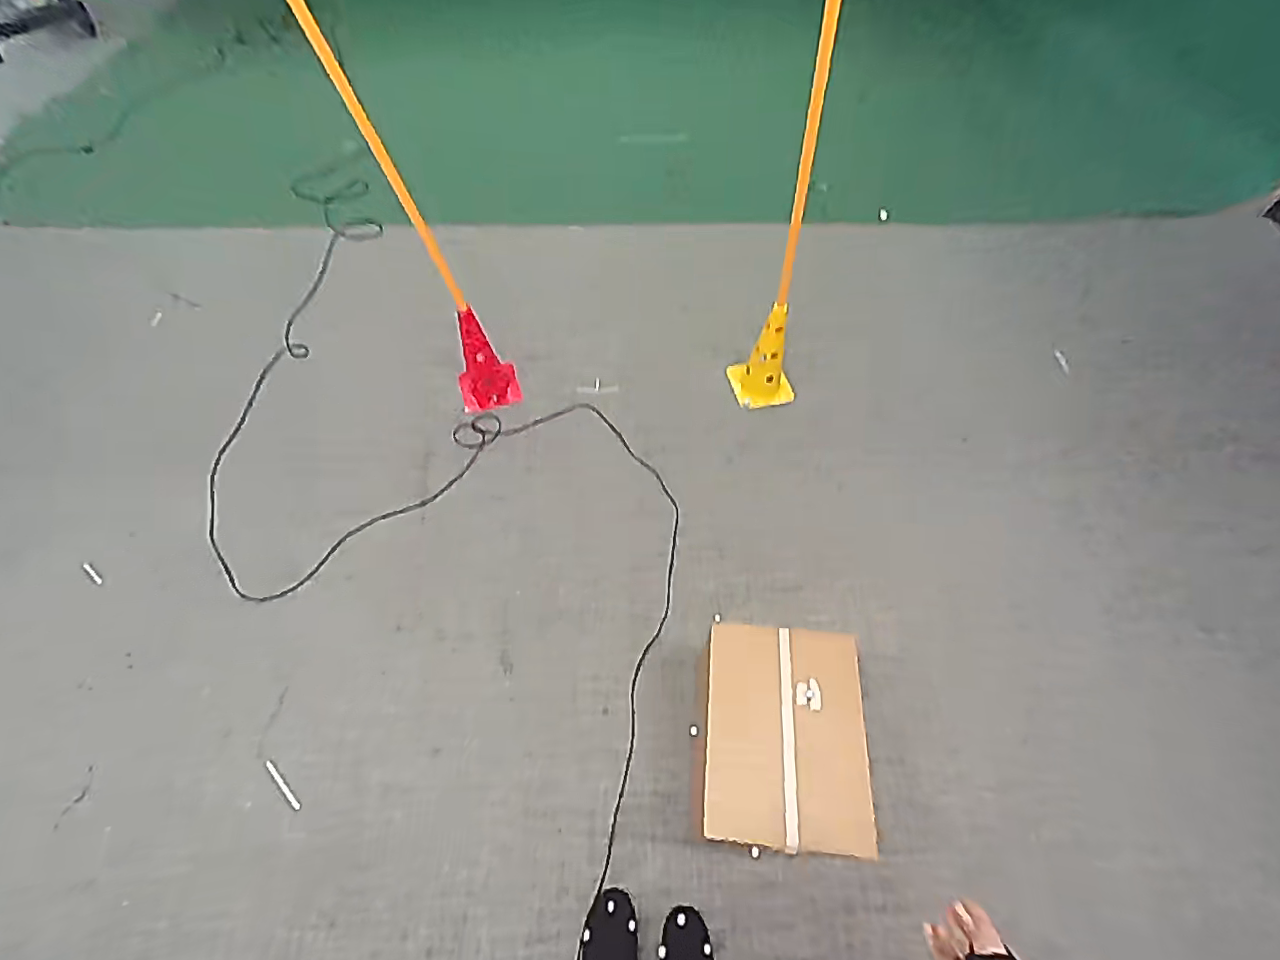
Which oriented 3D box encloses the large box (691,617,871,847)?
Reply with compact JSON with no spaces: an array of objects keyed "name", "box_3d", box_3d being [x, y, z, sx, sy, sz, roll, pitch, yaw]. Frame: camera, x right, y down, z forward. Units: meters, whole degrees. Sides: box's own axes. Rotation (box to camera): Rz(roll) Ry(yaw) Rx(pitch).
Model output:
[{"name":"large box","box_3d":[0.284,0.565,1.207,0.320,0.320,0.408,6,57,3]}]
